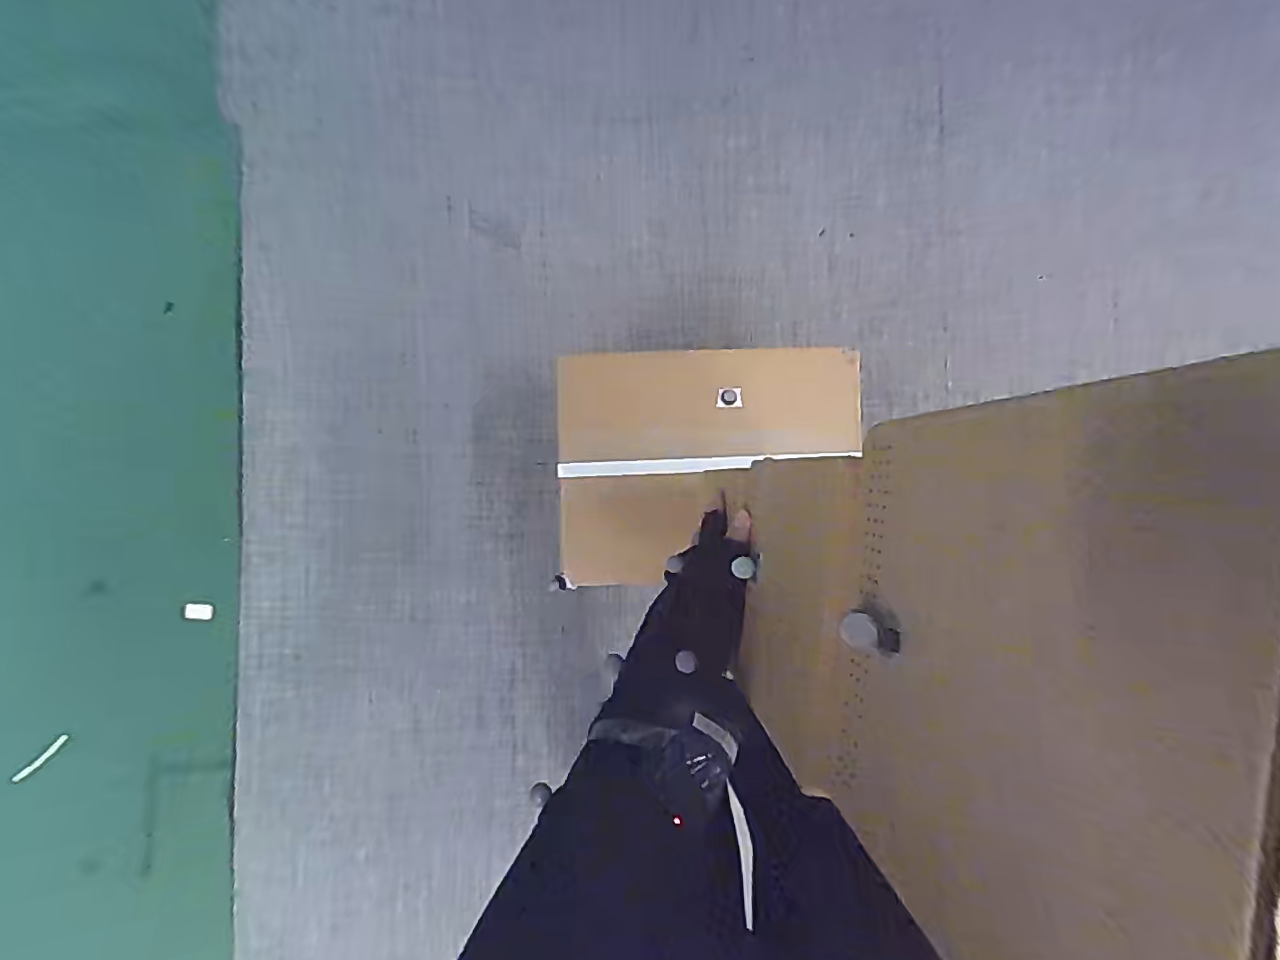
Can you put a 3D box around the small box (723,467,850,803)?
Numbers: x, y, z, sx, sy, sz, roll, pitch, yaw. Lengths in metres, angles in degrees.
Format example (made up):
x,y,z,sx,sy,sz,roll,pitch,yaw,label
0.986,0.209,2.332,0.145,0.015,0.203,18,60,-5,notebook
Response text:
x,y,z,sx,sy,sz,roll,pitch,yaw,label
0.164,0.080,0.350,0.179,0.176,0.168,4,91,-5,small box
